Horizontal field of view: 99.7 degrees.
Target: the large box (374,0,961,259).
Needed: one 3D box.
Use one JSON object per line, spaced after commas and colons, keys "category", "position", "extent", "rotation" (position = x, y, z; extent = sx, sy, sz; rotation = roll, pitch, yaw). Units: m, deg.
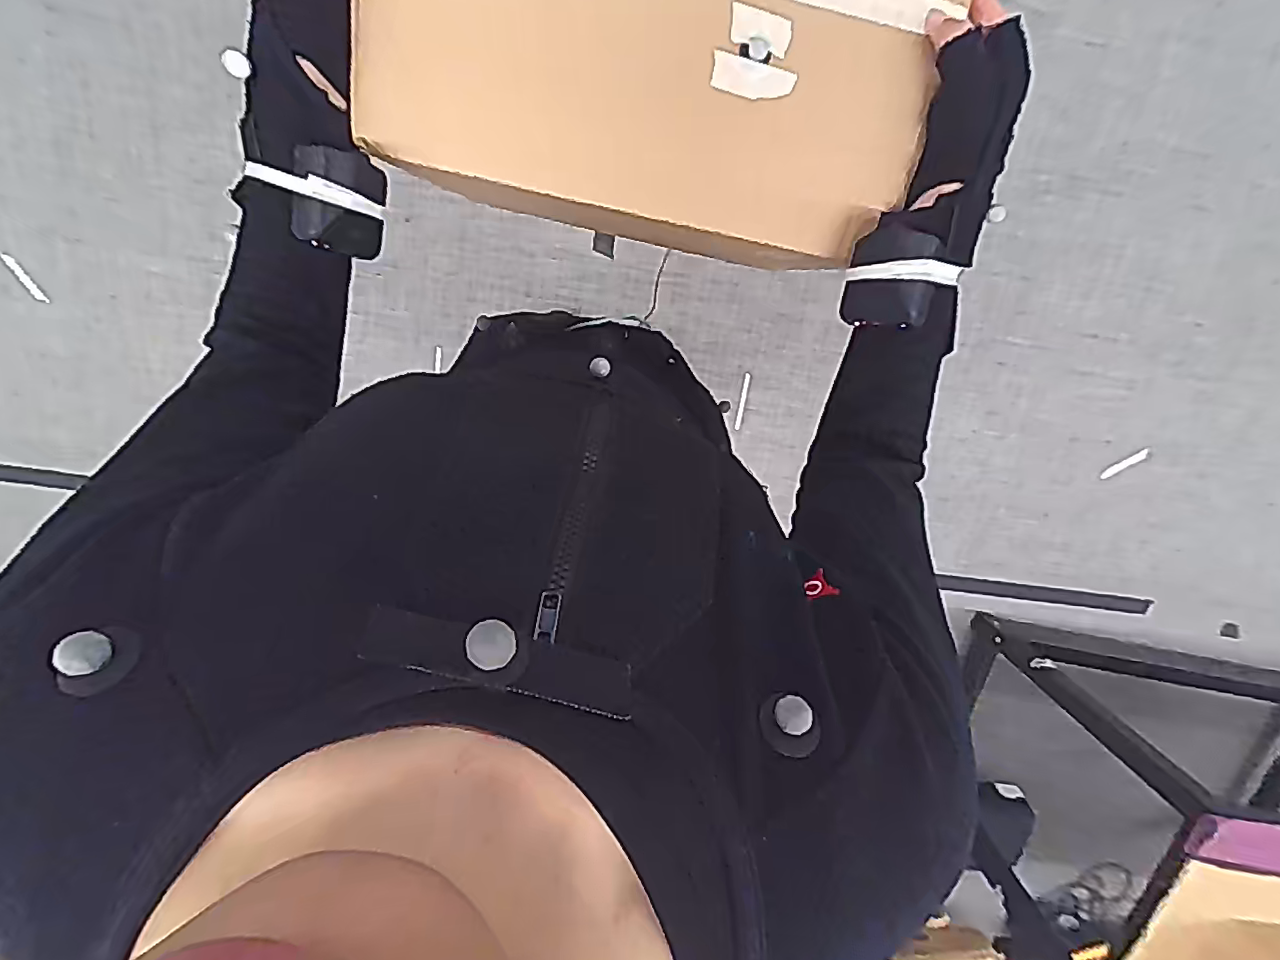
{"category": "large box", "position": [0.019, -0.407, 0.501], "extent": [0.408, 0.320, 0.320], "rotation": [9, 111, -7]}
